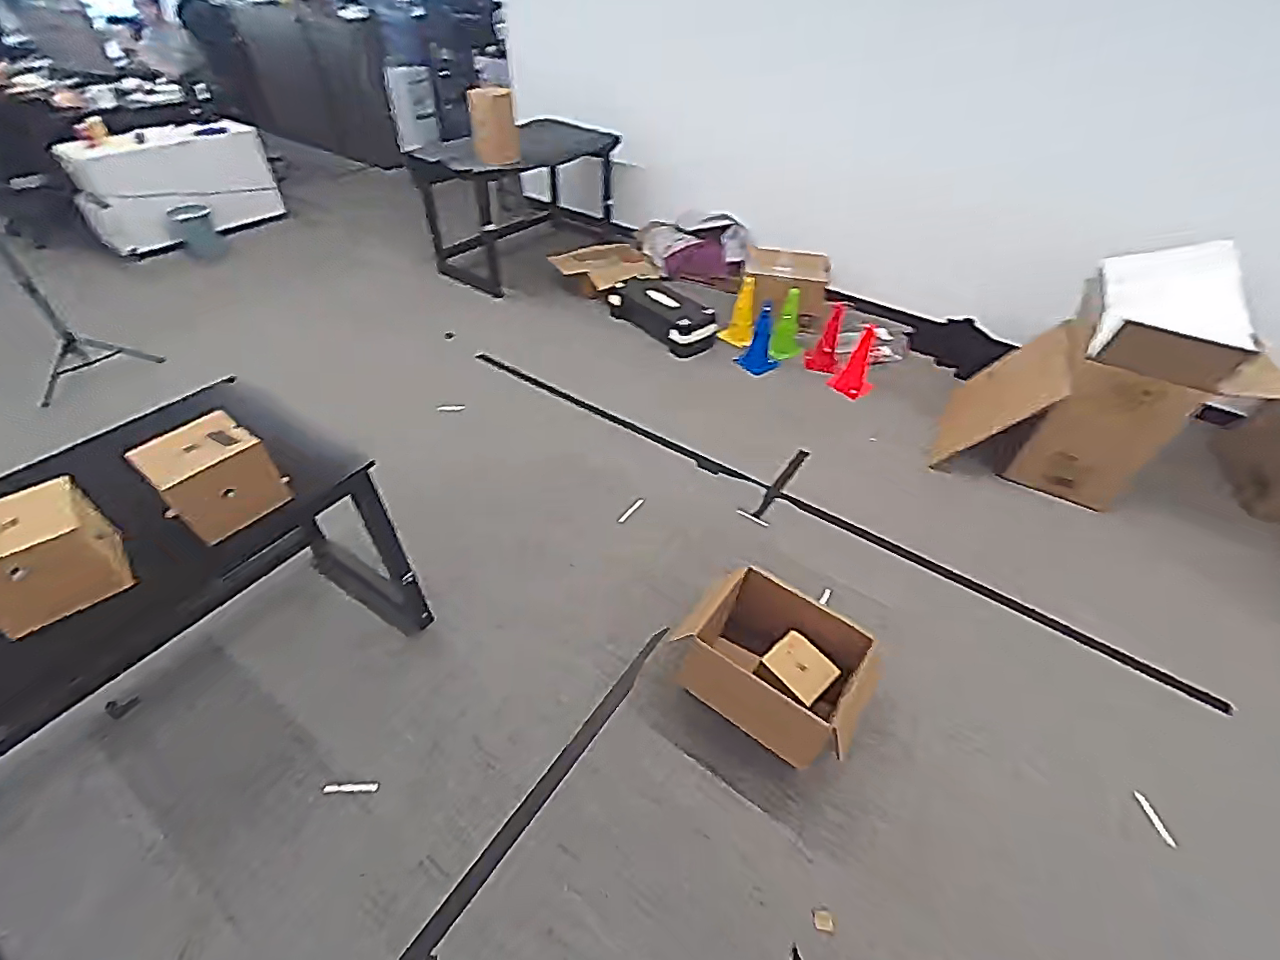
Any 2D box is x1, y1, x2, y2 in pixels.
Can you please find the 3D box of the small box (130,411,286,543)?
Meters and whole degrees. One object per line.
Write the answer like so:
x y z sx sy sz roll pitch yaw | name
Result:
-0.875 -0.006 1.117 0.168 0.176 0.179 28 51 24 | small box

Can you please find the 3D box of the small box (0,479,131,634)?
-1.064 0.135 0.966 0.179 0.176 0.168 -32 54 -29 | small box
